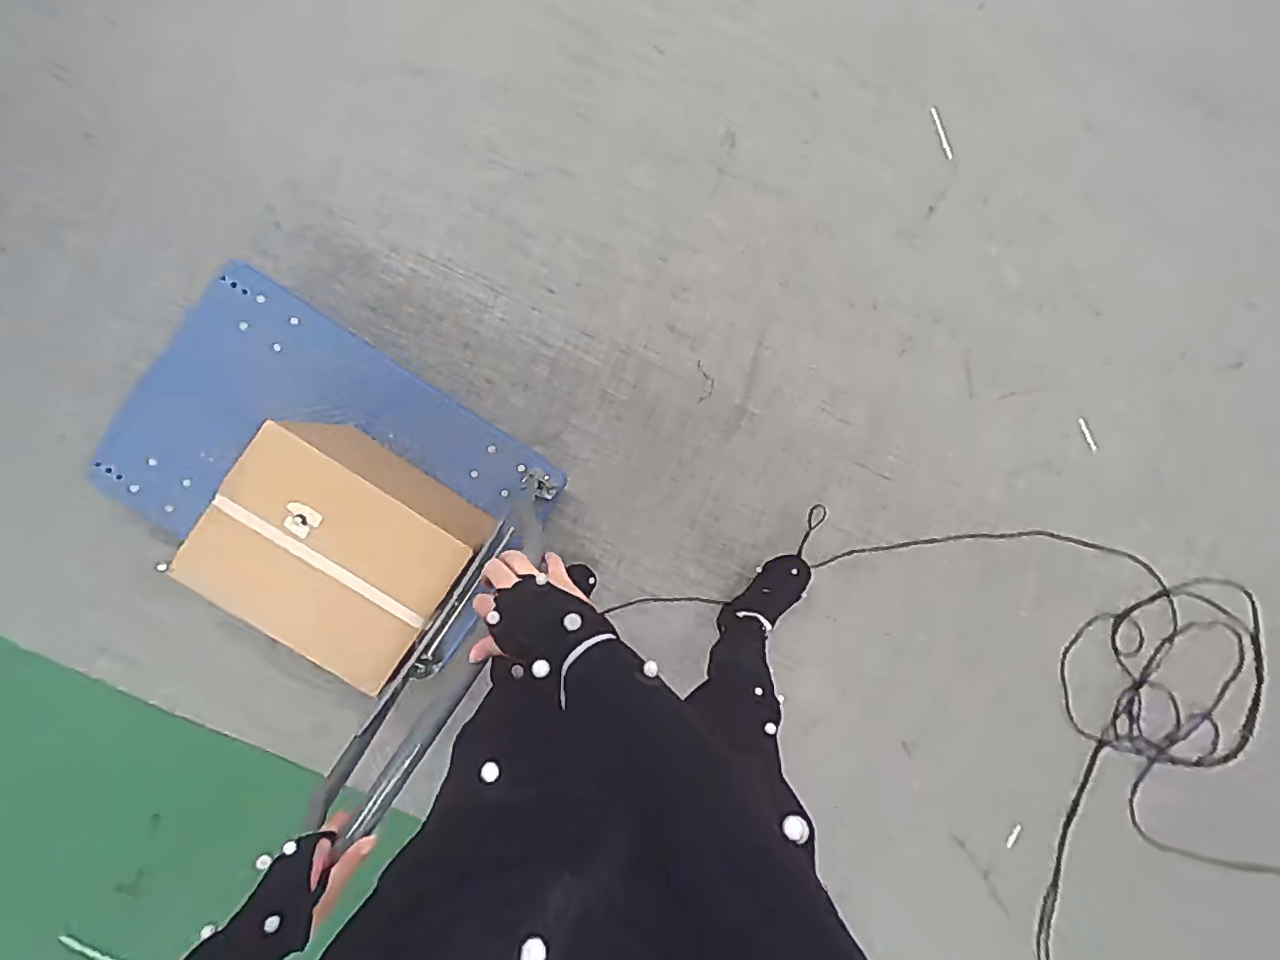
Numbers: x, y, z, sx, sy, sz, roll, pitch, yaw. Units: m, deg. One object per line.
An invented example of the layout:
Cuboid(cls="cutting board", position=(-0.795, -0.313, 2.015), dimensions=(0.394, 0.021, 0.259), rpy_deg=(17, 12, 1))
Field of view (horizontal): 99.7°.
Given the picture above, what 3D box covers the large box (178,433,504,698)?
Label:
Cuboid(cls="large box", position=(-0.540, 0.144, 1.072), dimensions=(0.408, 0.320, 0.320), rpy_deg=(34, 89, -5))
